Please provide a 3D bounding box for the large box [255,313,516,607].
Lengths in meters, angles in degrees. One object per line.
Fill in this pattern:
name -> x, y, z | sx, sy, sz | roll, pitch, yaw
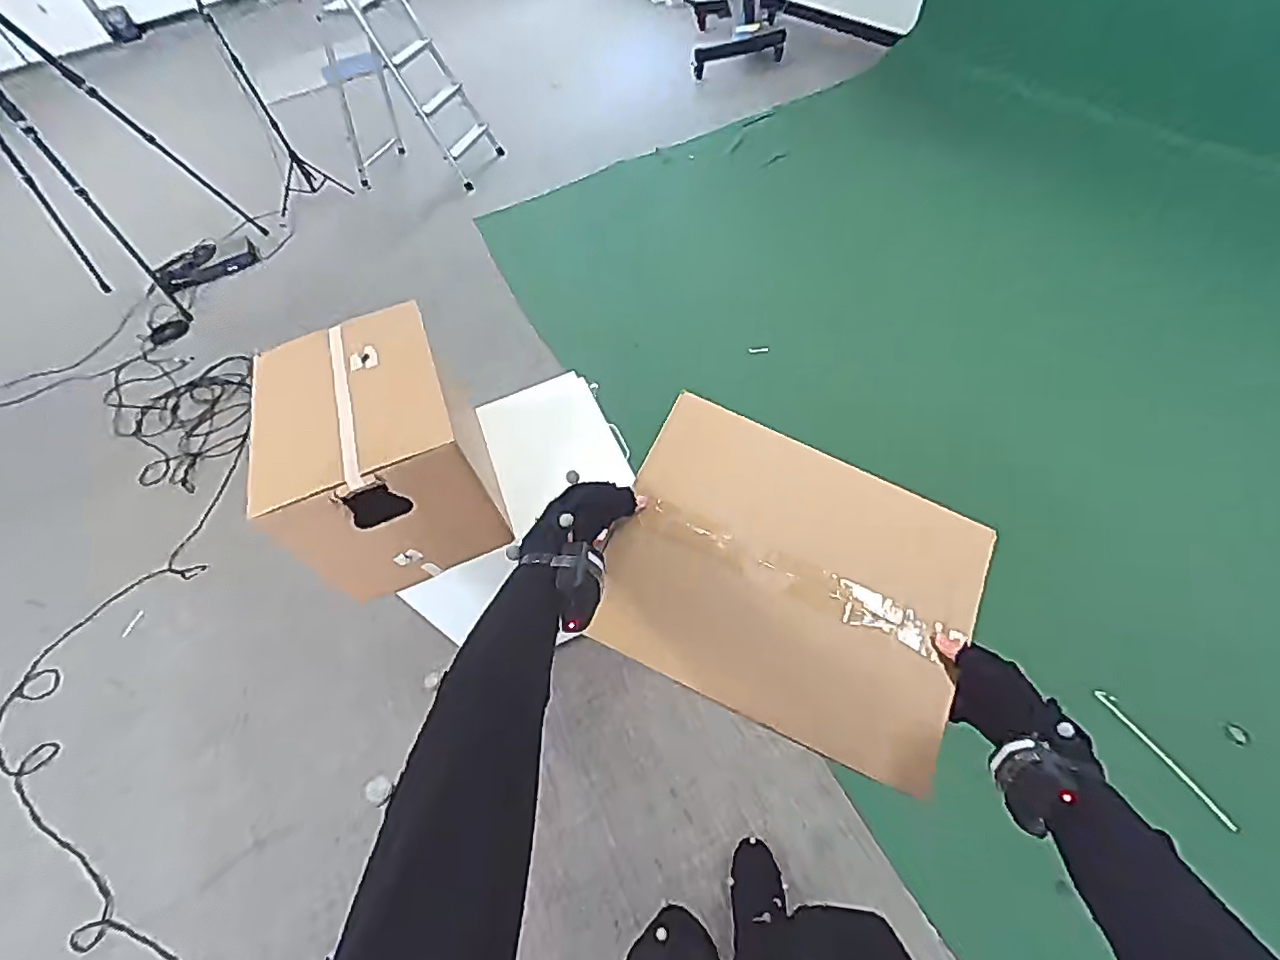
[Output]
large box -> -0.473, -0.040, 1.034 | 0.320, 0.320, 0.408 | -22, 53, -8
